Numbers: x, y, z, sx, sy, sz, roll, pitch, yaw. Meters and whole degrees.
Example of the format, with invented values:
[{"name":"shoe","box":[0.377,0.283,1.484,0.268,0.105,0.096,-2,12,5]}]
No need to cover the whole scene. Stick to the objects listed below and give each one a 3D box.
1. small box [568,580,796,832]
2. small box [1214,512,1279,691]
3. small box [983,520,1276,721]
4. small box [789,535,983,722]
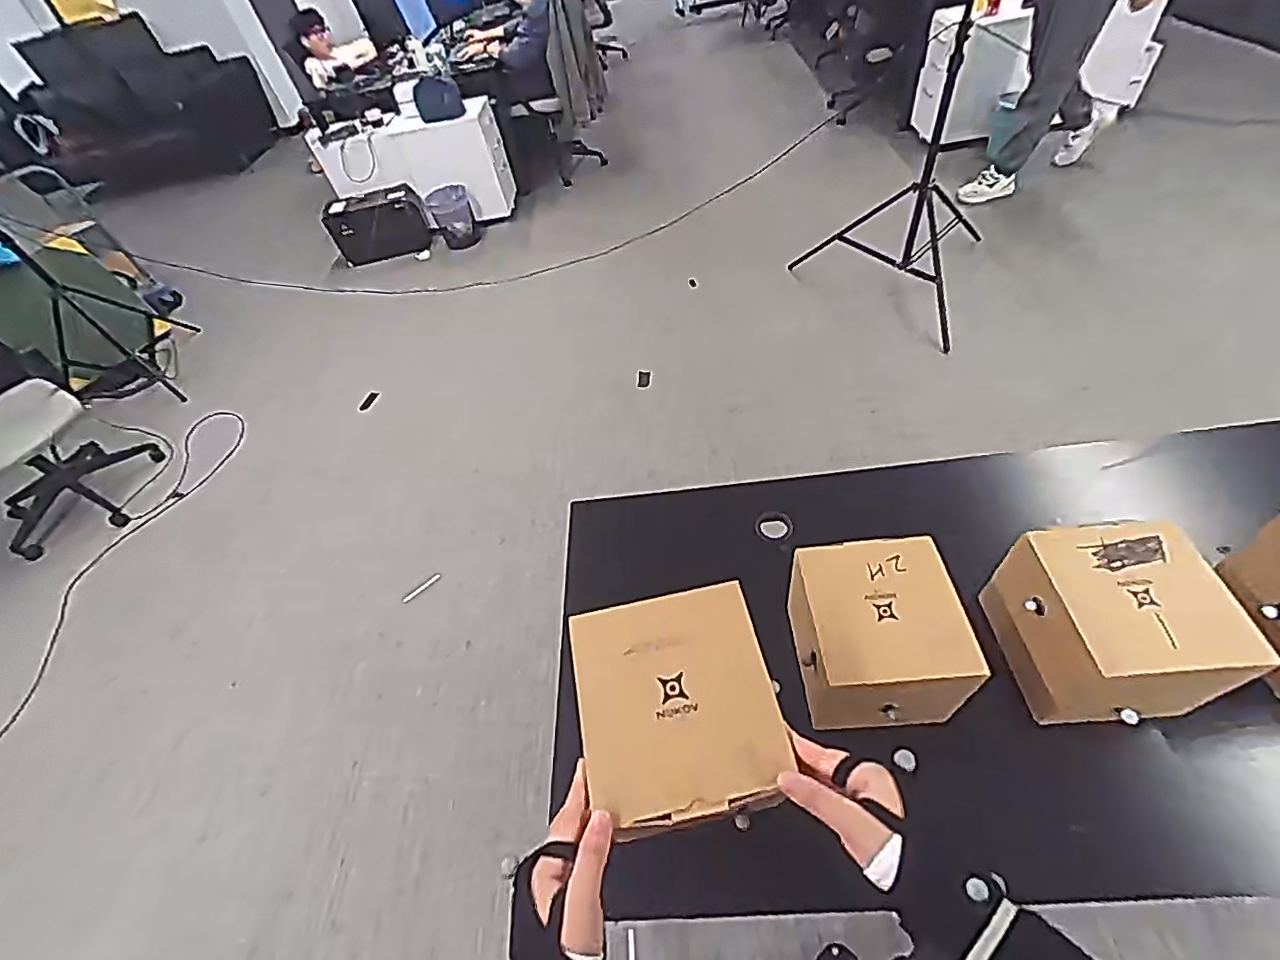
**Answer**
[{"name":"small box","box":[0.035,0.223,0.523,0.168,0.176,0.179,-12,54,-3]},{"name":"small box","box":[0.829,0.142,0.617,0.179,0.176,0.168,-5,50,8]},{"name":"small box","box":[0.550,0.171,0.648,0.168,0.176,0.179,-6,51,6]},{"name":"small box","box":[0.289,0.194,0.681,0.168,0.176,0.179,-6,50,5]}]
